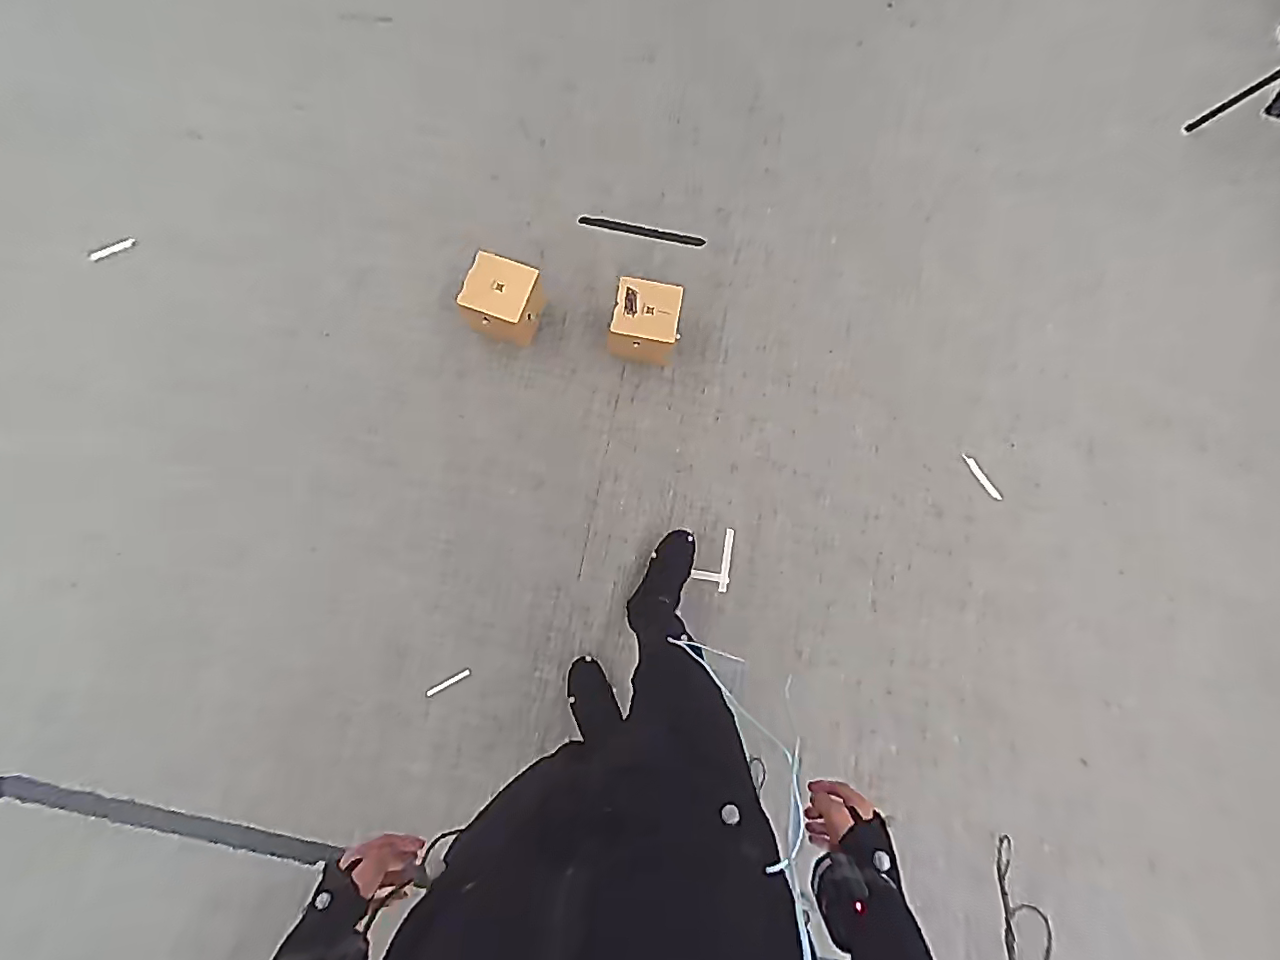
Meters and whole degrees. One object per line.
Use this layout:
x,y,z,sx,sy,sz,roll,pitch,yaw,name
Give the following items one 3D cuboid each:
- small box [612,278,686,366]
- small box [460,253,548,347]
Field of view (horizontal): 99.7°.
0.022,-0.435,1.517,0.179,0.176,0.168,11,80,-1,small box
-0.370,-0.495,1.513,0.179,0.176,0.168,19,80,2,small box
